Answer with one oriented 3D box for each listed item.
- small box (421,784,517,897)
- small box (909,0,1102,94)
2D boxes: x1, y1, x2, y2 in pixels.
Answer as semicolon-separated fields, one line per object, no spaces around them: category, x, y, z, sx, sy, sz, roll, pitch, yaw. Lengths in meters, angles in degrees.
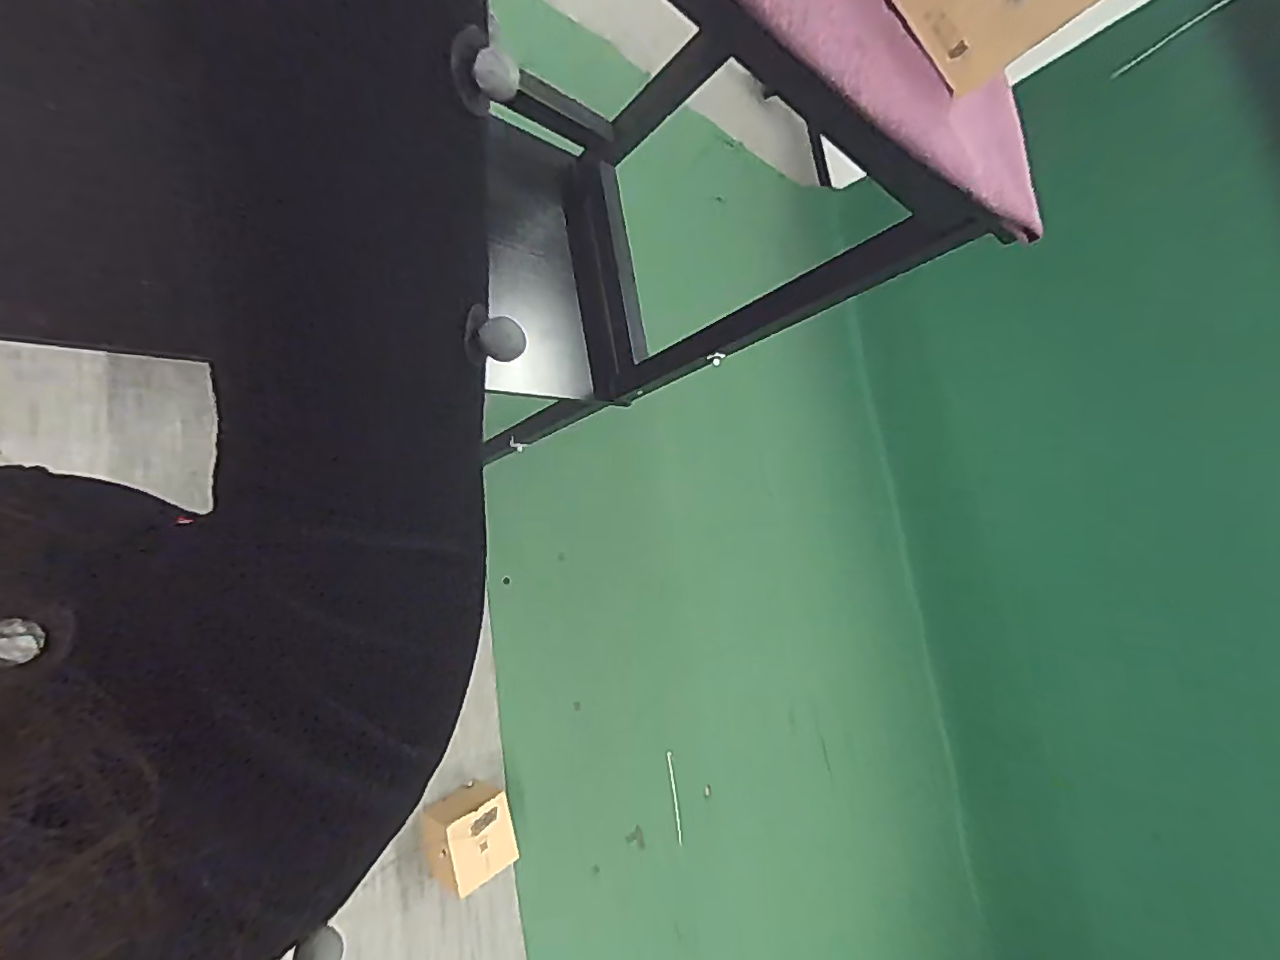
small box;-0.447;0.917;1.401;0.168;0.176;0.179;-10;87;-44
small box;0.317;-0.491;0.461;0.168;0.176;0.179;7;72;-41
